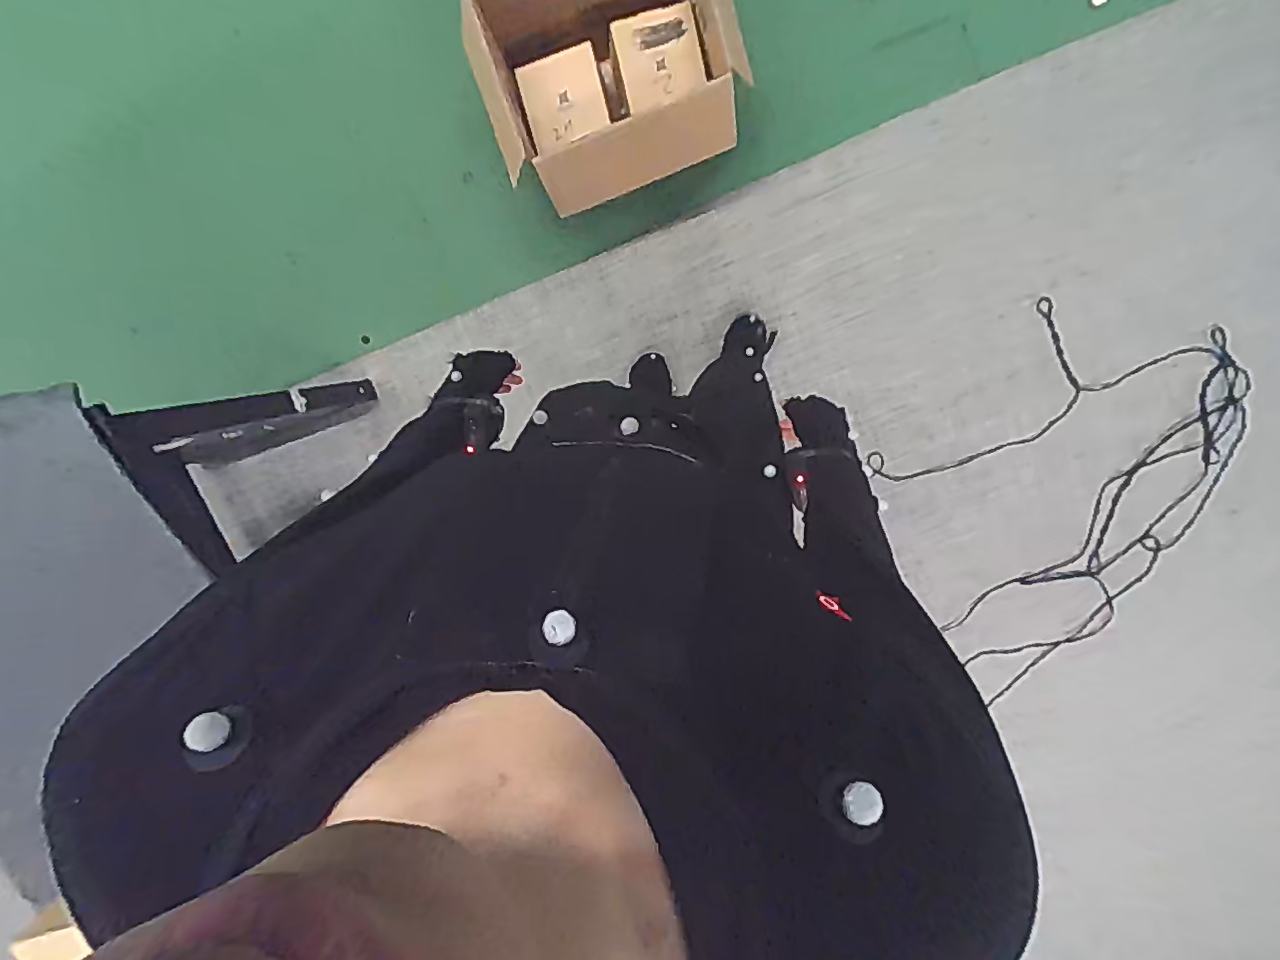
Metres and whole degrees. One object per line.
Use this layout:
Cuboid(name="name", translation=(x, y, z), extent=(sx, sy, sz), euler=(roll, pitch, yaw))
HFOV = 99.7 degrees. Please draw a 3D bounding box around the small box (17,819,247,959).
Cuboid(name="small box", translation=(-0.765, 0.671, 0.843), extent=(0.179, 0.176, 0.168), euler=(-20, 103, 8))
